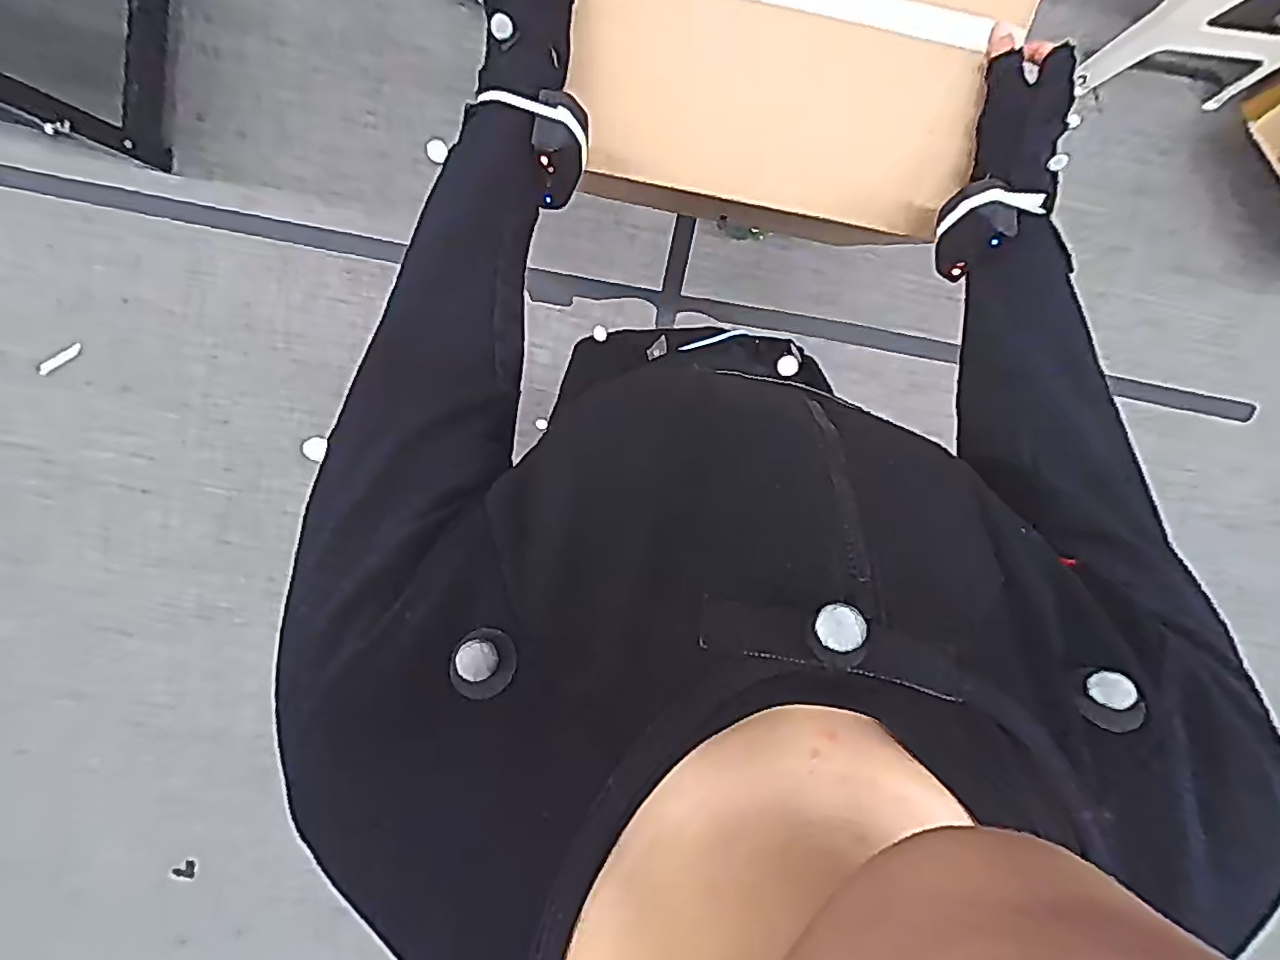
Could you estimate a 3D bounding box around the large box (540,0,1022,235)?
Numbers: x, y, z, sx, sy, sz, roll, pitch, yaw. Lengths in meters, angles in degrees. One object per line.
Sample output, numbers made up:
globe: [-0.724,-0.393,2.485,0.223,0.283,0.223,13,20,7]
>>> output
large box: [0.127,-0.469,0.600,0.408,0.320,0.320,10,112,-4]
